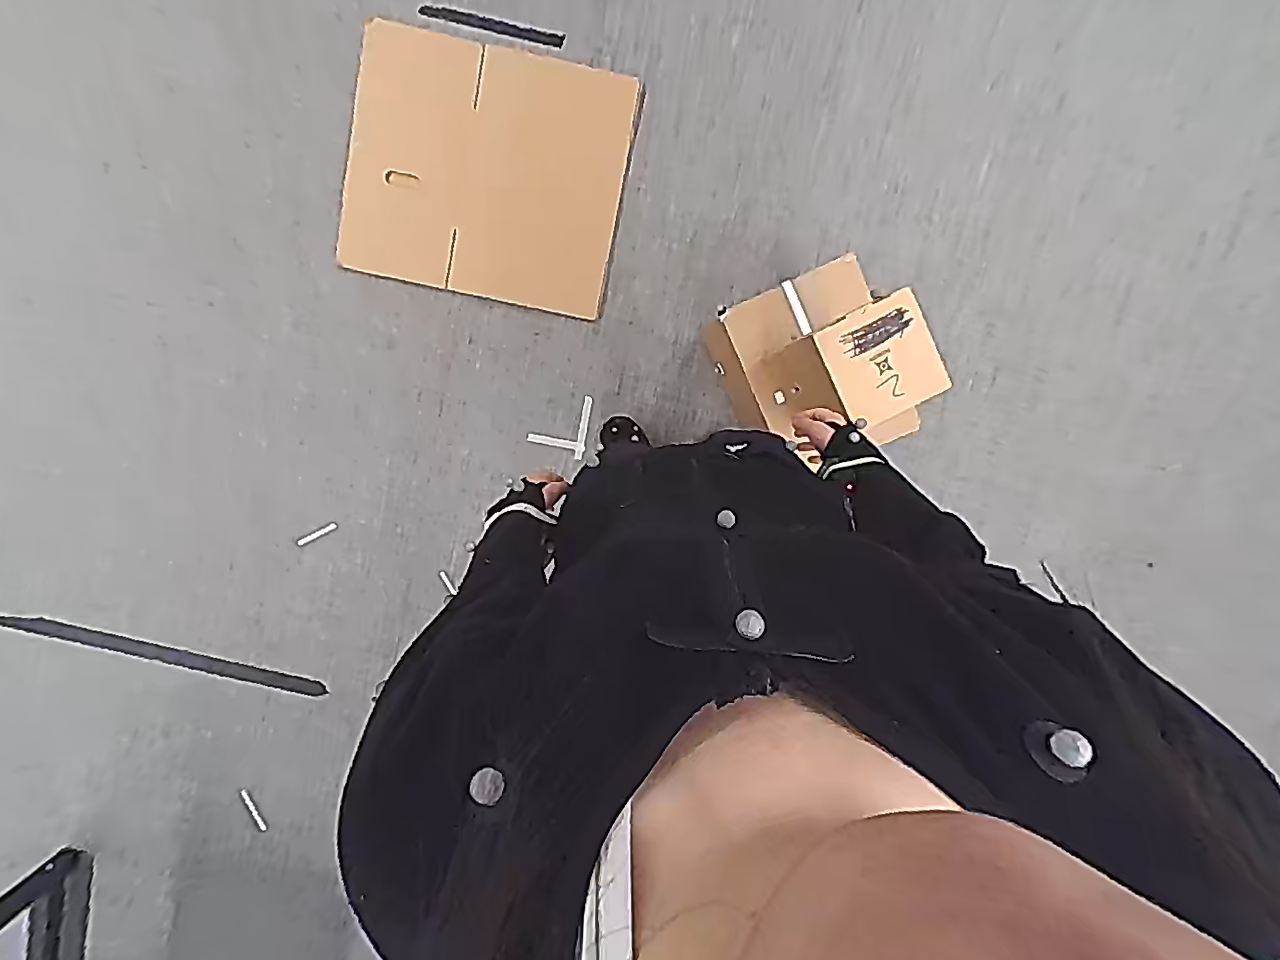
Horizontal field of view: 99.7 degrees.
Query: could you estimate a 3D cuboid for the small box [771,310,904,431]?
[{"bbox_3d":[0.381,-0.211,1.078,0.168,0.176,0.179,-27,97,4],"label":"small box"}]
